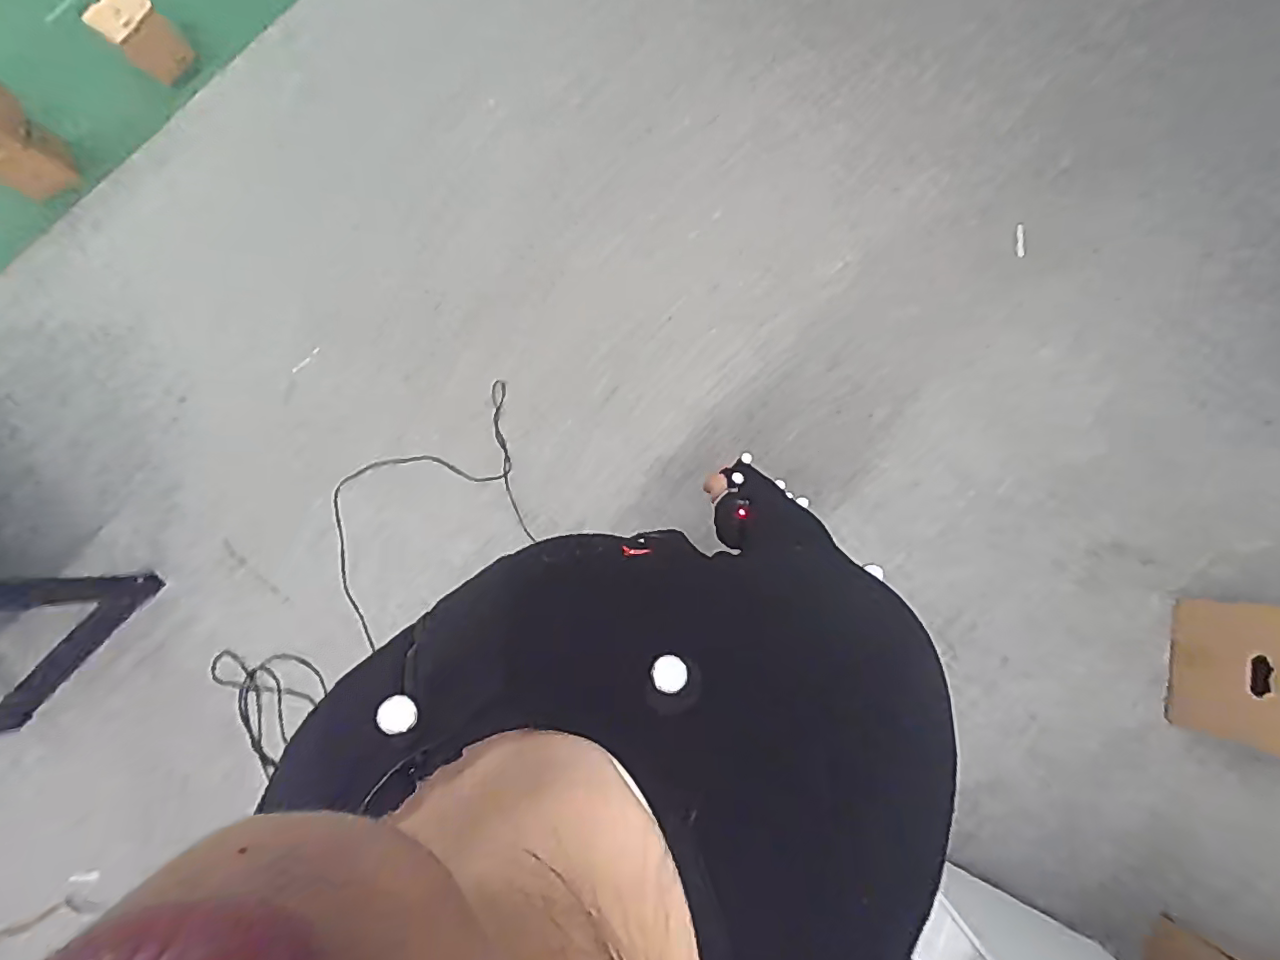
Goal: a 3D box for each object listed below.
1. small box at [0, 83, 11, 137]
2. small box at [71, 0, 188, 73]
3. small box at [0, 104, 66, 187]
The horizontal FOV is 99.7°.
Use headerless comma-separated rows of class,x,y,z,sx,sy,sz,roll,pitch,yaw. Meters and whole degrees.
small box,-1.959,-1.098,1.534,0.168,0.176,0.179,-8,82,1
small box,-1.620,-1.459,1.725,0.179,0.176,0.168,35,85,8
small box,-1.976,-1.059,1.694,0.168,0.176,0.179,-29,82,-1
